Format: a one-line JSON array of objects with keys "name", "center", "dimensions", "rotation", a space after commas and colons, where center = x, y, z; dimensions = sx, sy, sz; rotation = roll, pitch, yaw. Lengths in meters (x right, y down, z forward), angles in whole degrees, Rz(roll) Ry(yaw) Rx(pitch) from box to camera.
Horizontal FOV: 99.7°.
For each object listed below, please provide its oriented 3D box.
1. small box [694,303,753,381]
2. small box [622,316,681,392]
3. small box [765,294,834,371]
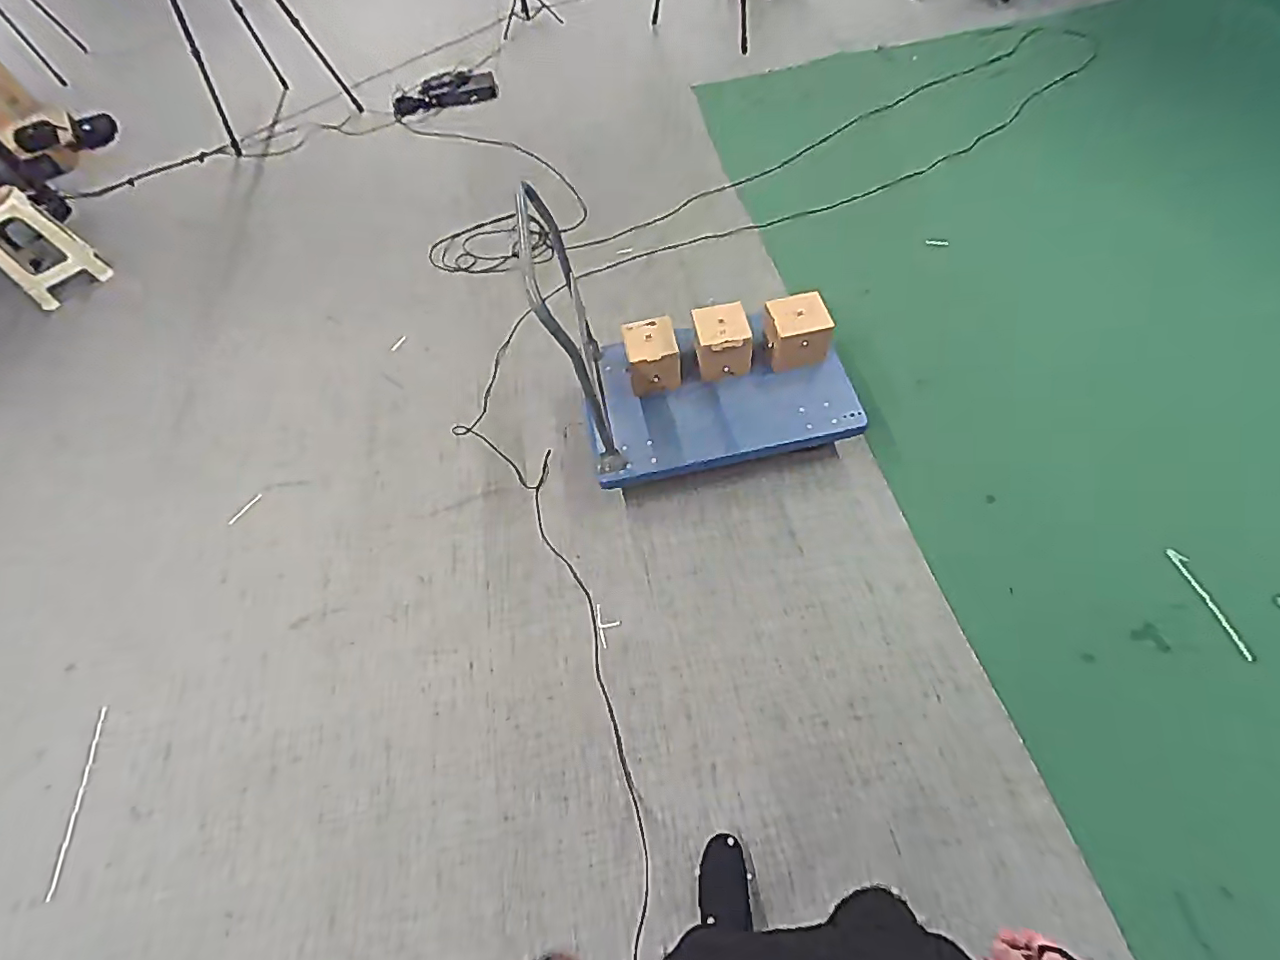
[{"name": "small box", "center": [0.272, -0.456, 1.798], "dimensions": [0.168, 0.176, 0.179], "rotation": [-9, 59, 2]}, {"name": "small box", "center": [0.040, -0.410, 1.797], "dimensions": [0.168, 0.176, 0.179], "rotation": [-11, 59, 0]}, {"name": "small box", "center": [0.516, -0.481, 1.784], "dimensions": [0.179, 0.176, 0.168], "rotation": [-11, 59, 1]}]
